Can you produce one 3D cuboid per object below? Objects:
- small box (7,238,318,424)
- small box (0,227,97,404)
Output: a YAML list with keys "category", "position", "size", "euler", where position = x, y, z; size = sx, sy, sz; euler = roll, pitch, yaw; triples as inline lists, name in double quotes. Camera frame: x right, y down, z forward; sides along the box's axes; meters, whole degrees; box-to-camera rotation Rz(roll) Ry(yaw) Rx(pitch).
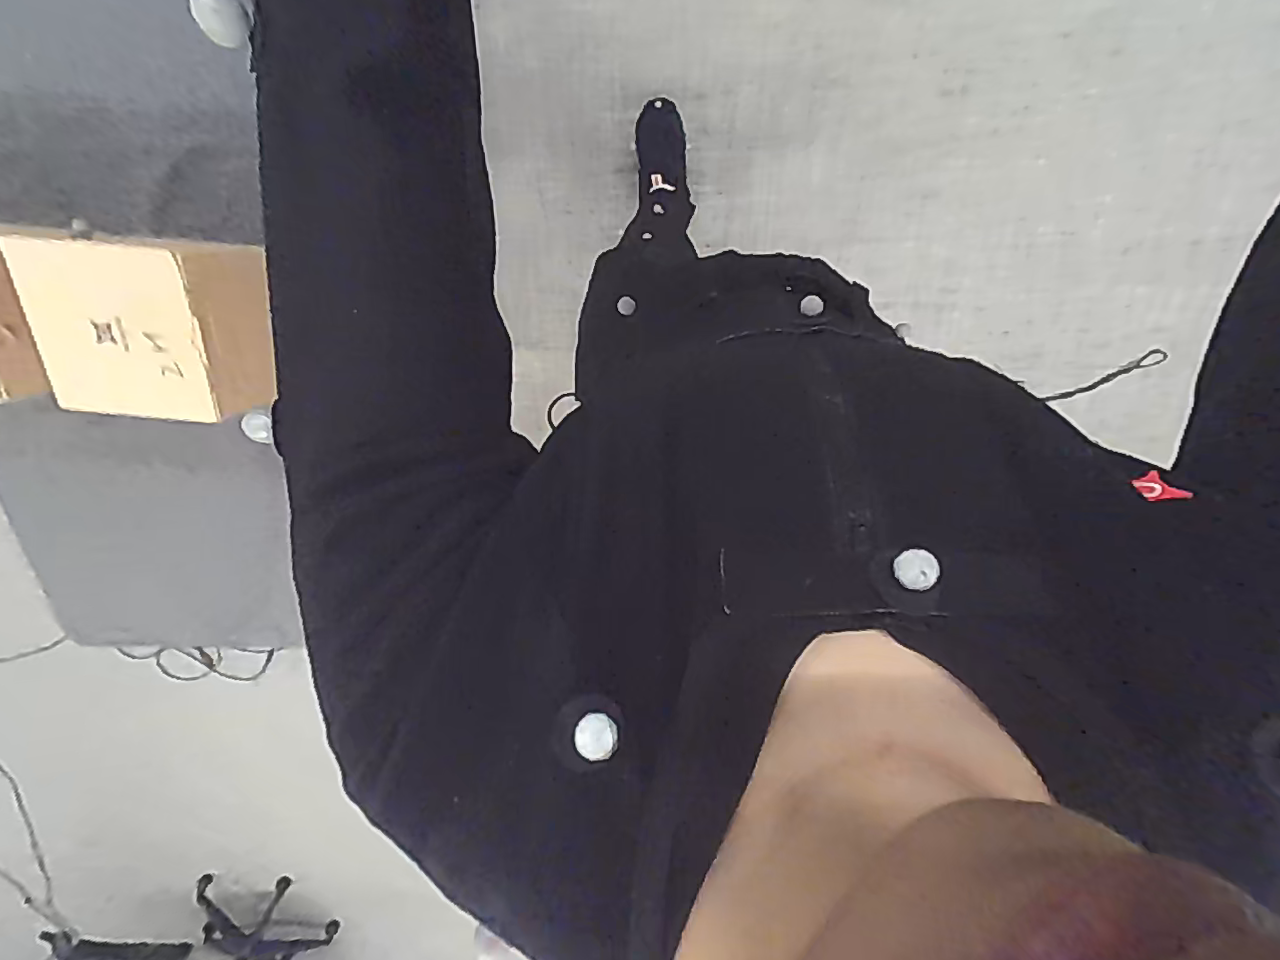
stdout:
- category: "small box"
  position: [-0.502, -0.172, 0.602]
  size: [0.179, 0.176, 0.168]
  euler: [5, 114, 2]
- category: "small box"
  position: [-0.730, -0.193, 0.607]
  size: [0.179, 0.176, 0.168]
  euler: [5, 114, 1]
